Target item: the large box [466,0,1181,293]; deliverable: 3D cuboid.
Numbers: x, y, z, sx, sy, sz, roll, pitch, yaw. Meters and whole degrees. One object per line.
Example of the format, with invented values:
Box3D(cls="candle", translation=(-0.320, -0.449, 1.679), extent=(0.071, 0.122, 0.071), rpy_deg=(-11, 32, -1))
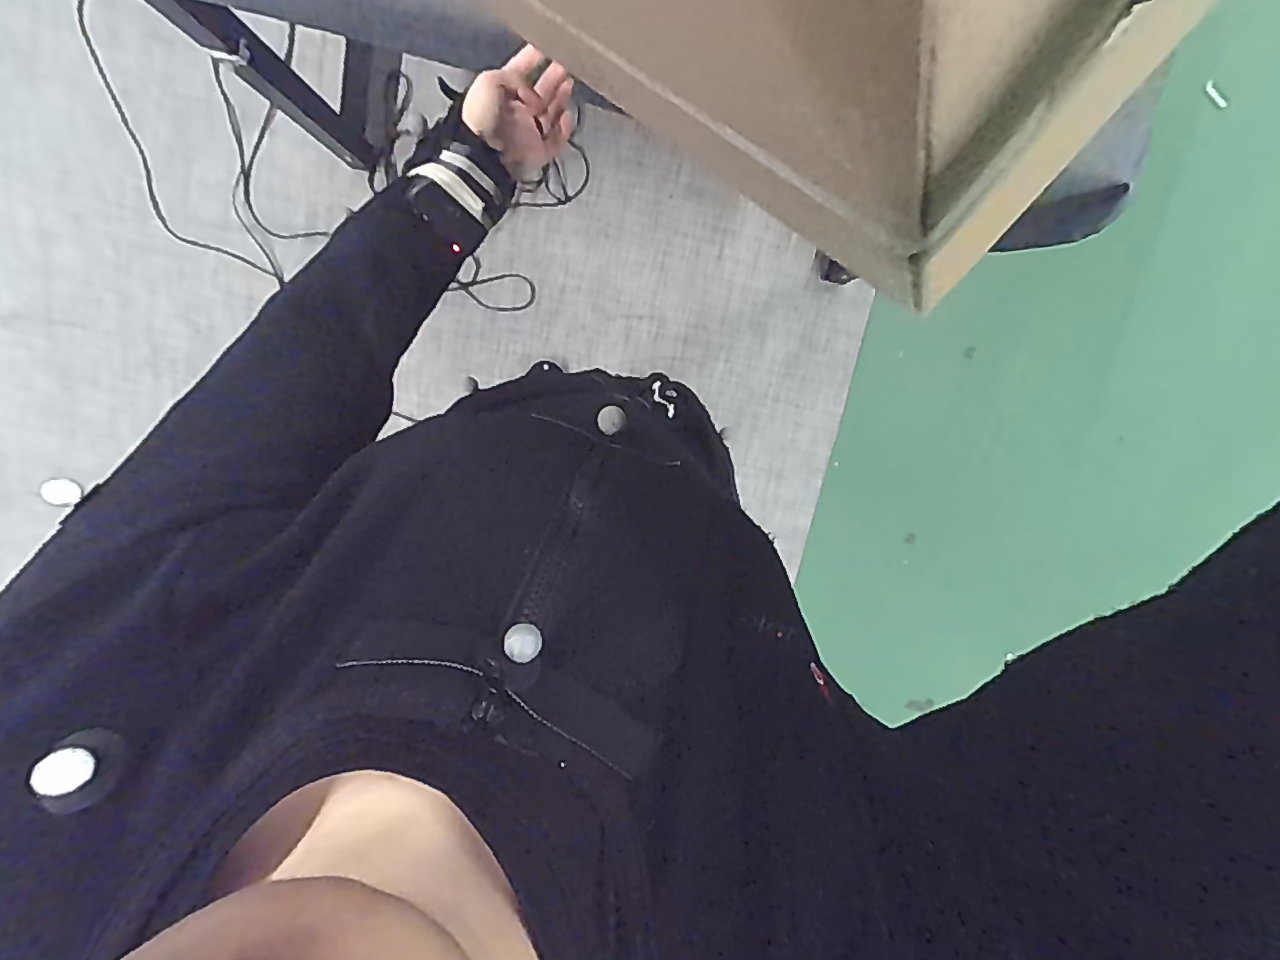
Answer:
Box3D(cls="large box", translation=(0.065, -0.340, 0.227), extent=(0.408, 0.320, 0.320), rpy_deg=(43, 111, 17))
